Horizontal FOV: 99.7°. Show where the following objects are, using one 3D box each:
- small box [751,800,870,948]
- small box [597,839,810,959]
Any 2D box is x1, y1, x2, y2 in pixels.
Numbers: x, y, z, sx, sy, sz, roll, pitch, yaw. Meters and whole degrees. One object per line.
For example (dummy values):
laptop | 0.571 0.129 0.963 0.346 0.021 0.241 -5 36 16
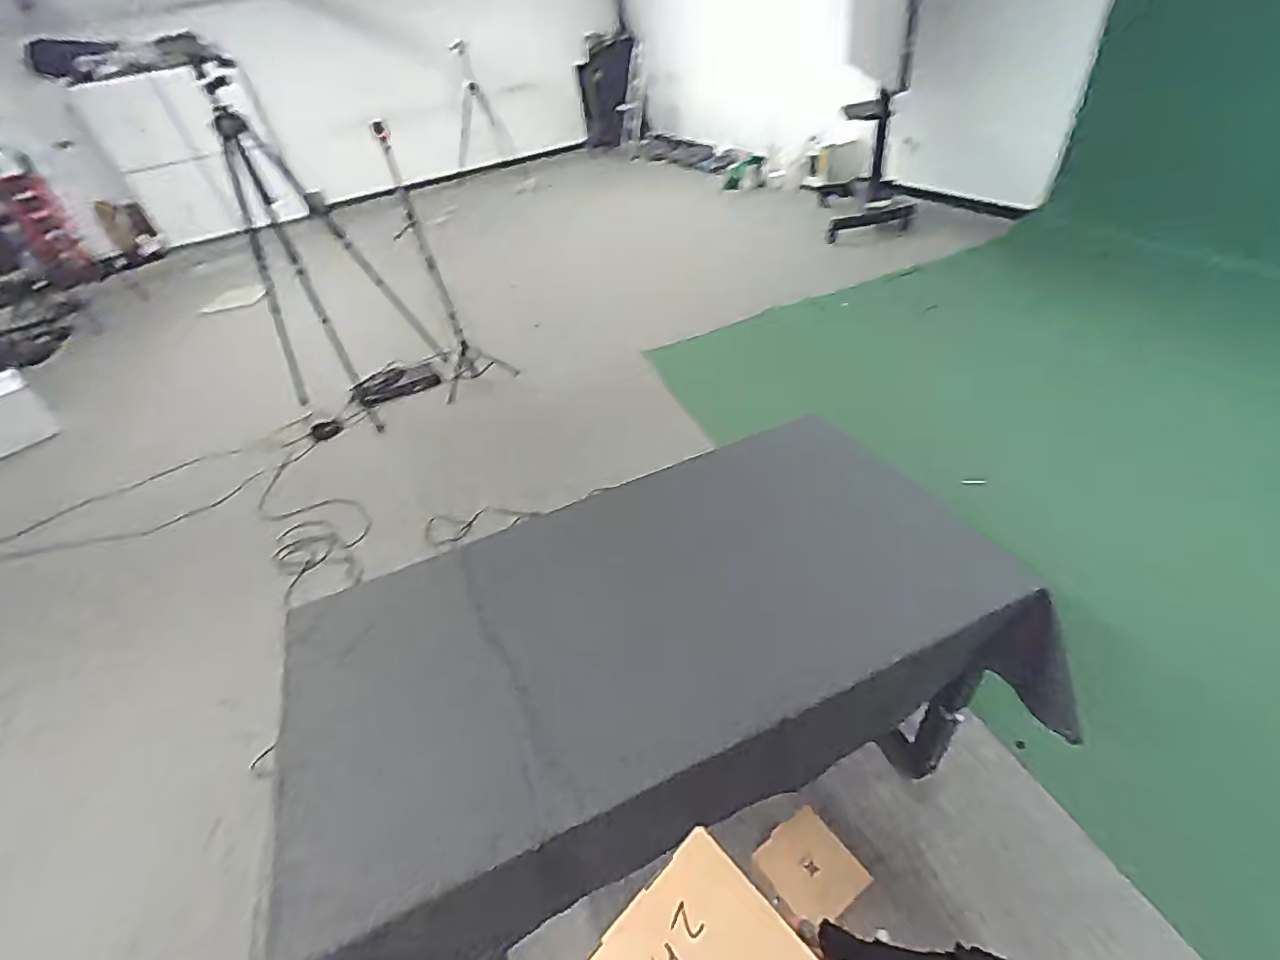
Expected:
small box | 0.356 0.837 1.150 0.168 0.176 0.179 -30 43 -20
small box | 0.061 0.417 0.407 0.168 0.176 0.179 -39 53 -21
